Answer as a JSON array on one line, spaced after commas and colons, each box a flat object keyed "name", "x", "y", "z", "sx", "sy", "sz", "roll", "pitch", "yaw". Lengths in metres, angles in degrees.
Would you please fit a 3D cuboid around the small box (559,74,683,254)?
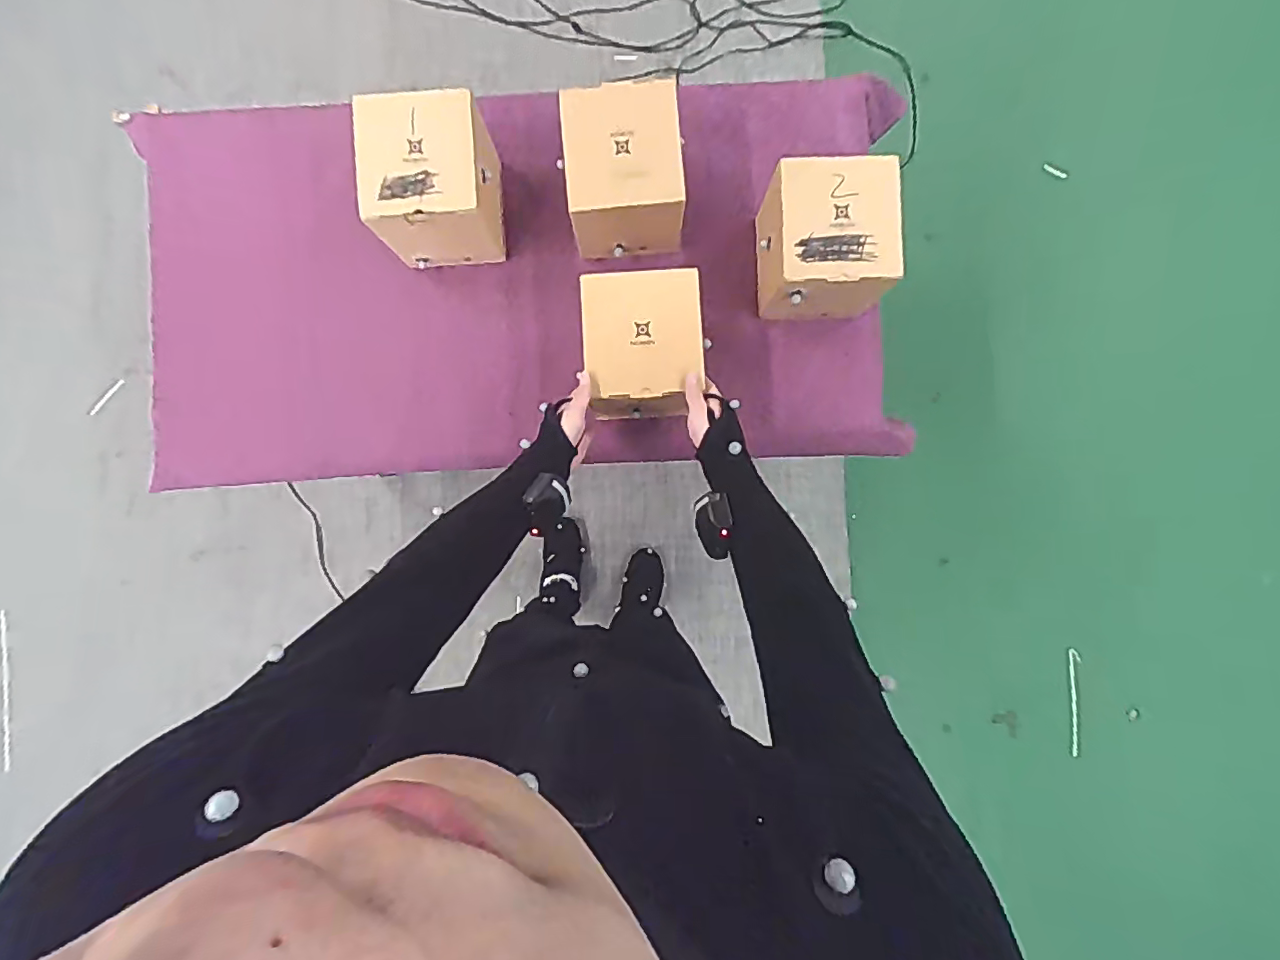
[{"name": "small box", "x": -0.028, "y": -0.469, "z": 0.825, "sx": 0.168, "sy": 0.176, "sz": 0.179, "roll": -5, "pitch": 90, "yaw": 0}]

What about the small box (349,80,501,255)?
[{"name": "small box", "x": -0.313, "y": -0.455, "z": 0.818, "sx": 0.168, "sy": 0.176, "sz": 0.179, "roll": -4, "pitch": 89, "yaw": -1}]

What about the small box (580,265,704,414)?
[{"name": "small box", "x": 0.000, "y": -0.203, "z": 0.818, "sx": 0.168, "sy": 0.176, "sz": 0.179, "roll": -3, "pitch": 89, "yaw": -1}]
